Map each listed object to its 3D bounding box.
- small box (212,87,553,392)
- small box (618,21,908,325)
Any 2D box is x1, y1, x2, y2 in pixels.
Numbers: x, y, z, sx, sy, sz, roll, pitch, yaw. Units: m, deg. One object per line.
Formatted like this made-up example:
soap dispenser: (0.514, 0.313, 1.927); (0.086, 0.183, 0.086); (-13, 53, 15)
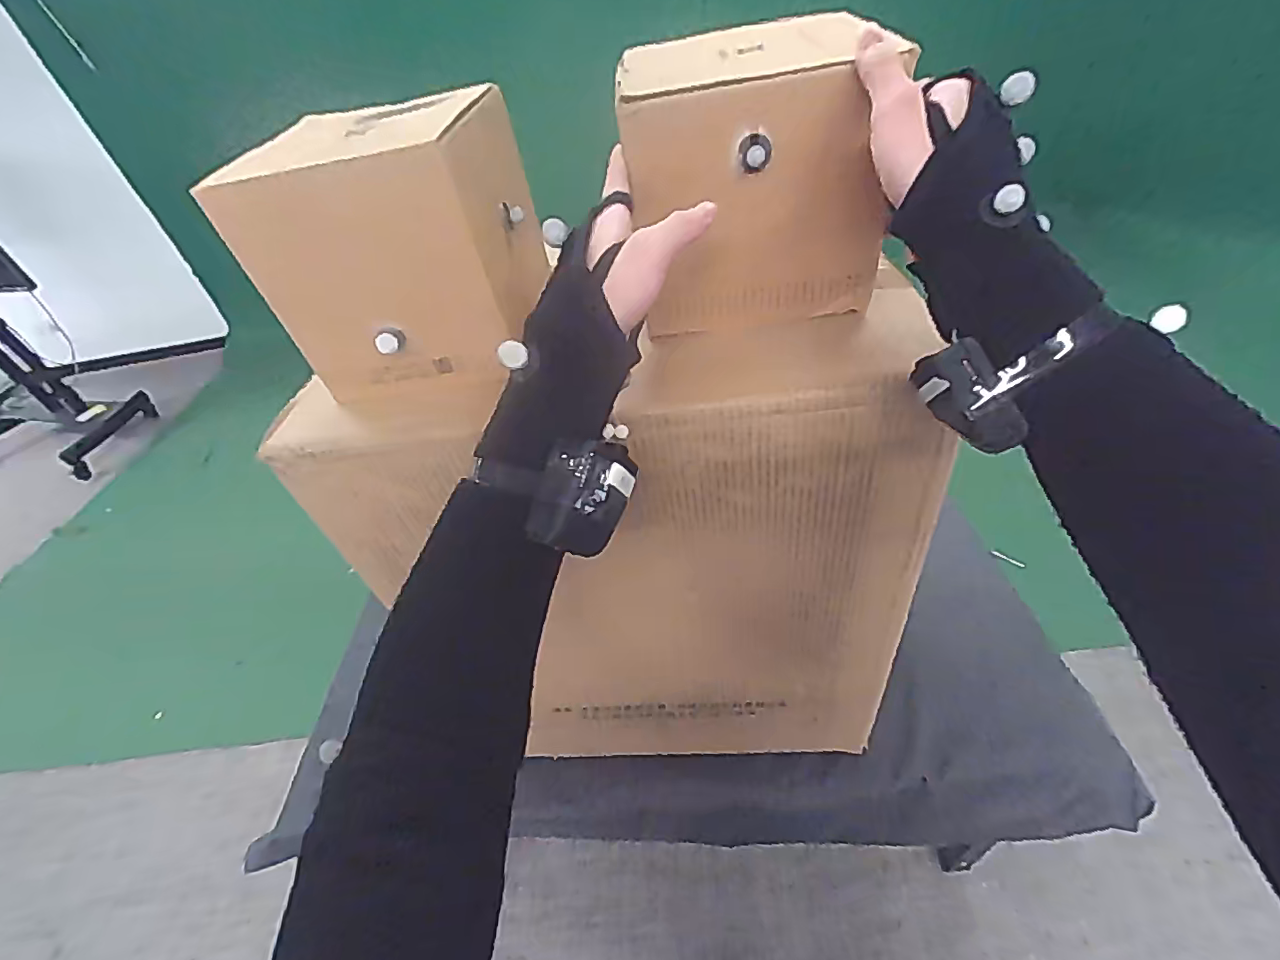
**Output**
small box: (-0.178, -0.195, 0.446); (0.168, 0.176, 0.179); (-6, 45, 8)
small box: (0.084, -0.240, 0.435); (0.179, 0.176, 0.168); (-4, 46, 5)
